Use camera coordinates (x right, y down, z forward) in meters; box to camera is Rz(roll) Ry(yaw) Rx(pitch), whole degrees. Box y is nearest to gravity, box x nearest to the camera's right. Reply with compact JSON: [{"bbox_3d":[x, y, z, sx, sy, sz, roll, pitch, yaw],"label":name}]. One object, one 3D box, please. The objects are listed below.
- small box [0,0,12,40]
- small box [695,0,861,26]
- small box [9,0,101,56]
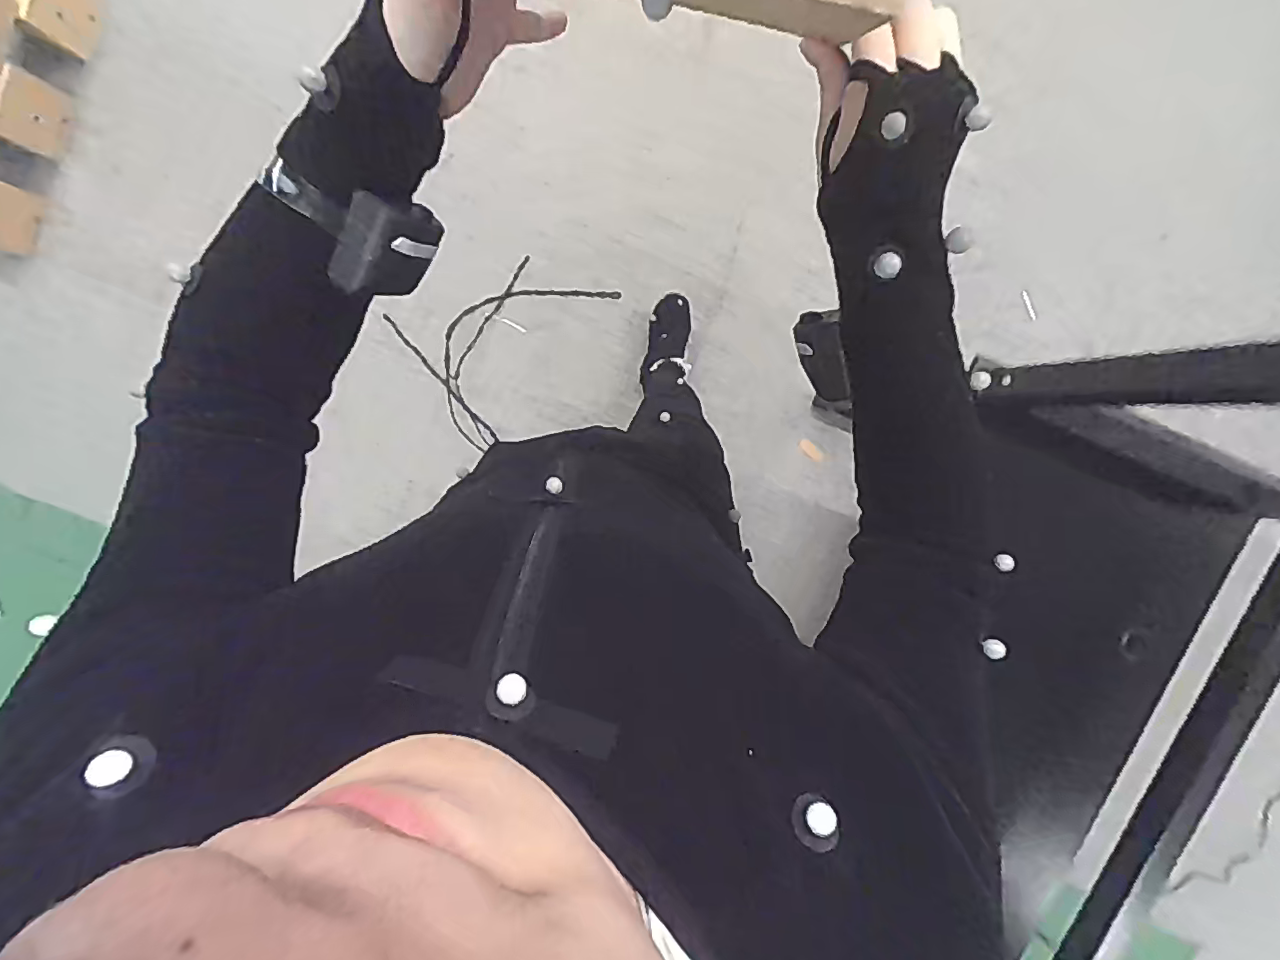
[{"bbox_3d":[-1.536,-1.045,1.162,0.168,0.176,0.179,21,93,-6],"label":"small box"},{"bbox_3d":[0.043,-0.314,0.224,0.179,0.176,0.168,14,127,2],"label":"small box"},{"bbox_3d":[-1.486,-1.186,1.313,0.179,0.176,0.168,23,95,-5],"label":"small box"}]
